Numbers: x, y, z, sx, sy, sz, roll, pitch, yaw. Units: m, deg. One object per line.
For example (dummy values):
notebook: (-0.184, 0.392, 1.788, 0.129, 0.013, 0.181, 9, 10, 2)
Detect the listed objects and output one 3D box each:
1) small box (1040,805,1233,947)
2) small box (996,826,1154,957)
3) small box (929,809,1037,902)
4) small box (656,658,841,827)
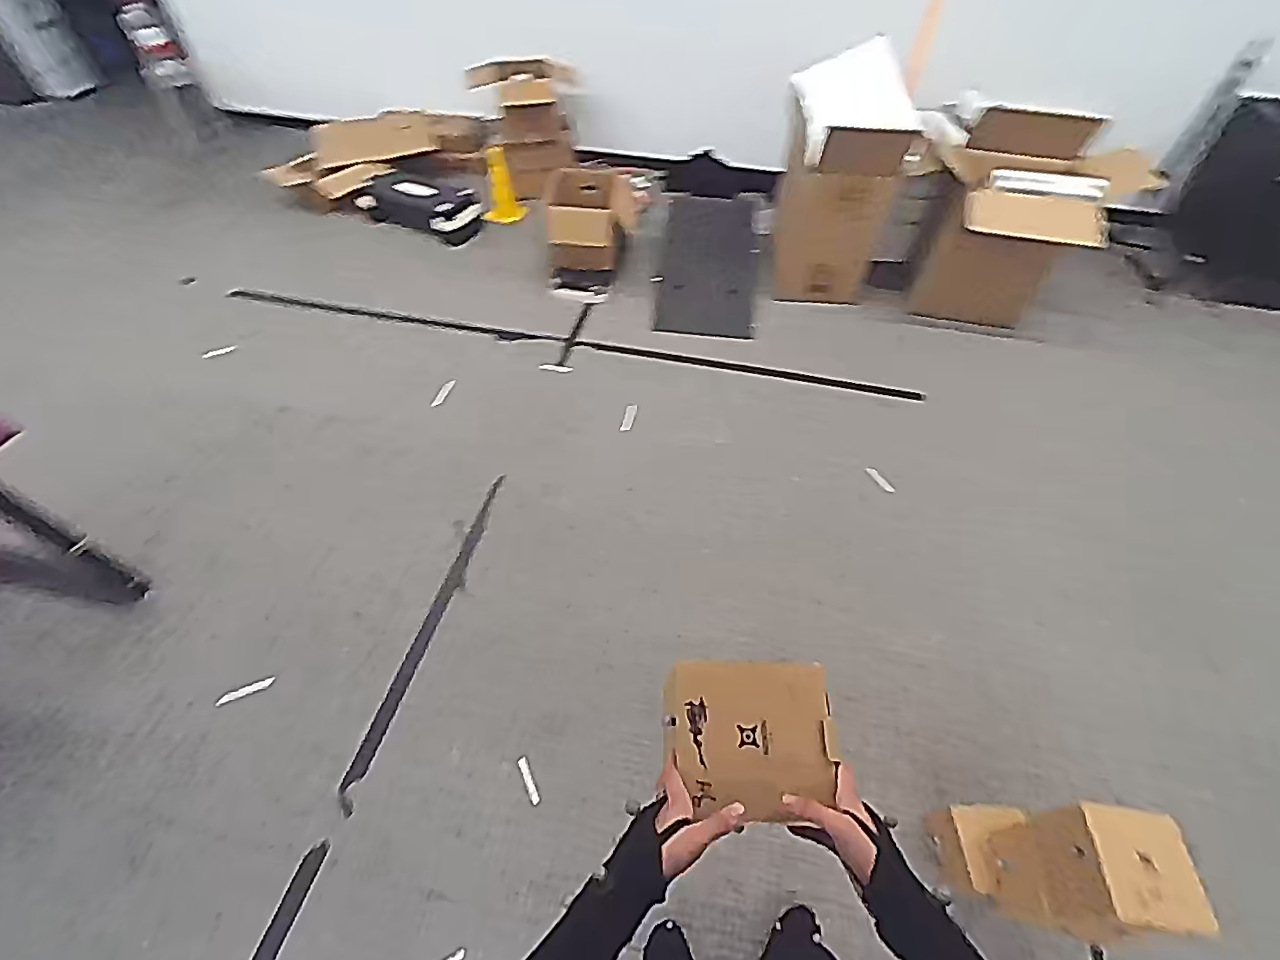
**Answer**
small box: (0.877, 0.717, 0.981, 0.168, 0.176, 0.179, 8, 51, 4)
small box: (0.868, 0.831, 1.100, 0.179, 0.176, 0.168, 14, 52, 9)
small box: (0.818, 0.881, 1.267, 0.179, 0.176, 0.168, 2, 51, 0)
small box: (0.115, 0.315, 0.654, 0.179, 0.176, 0.168, 1, 61, -3)
